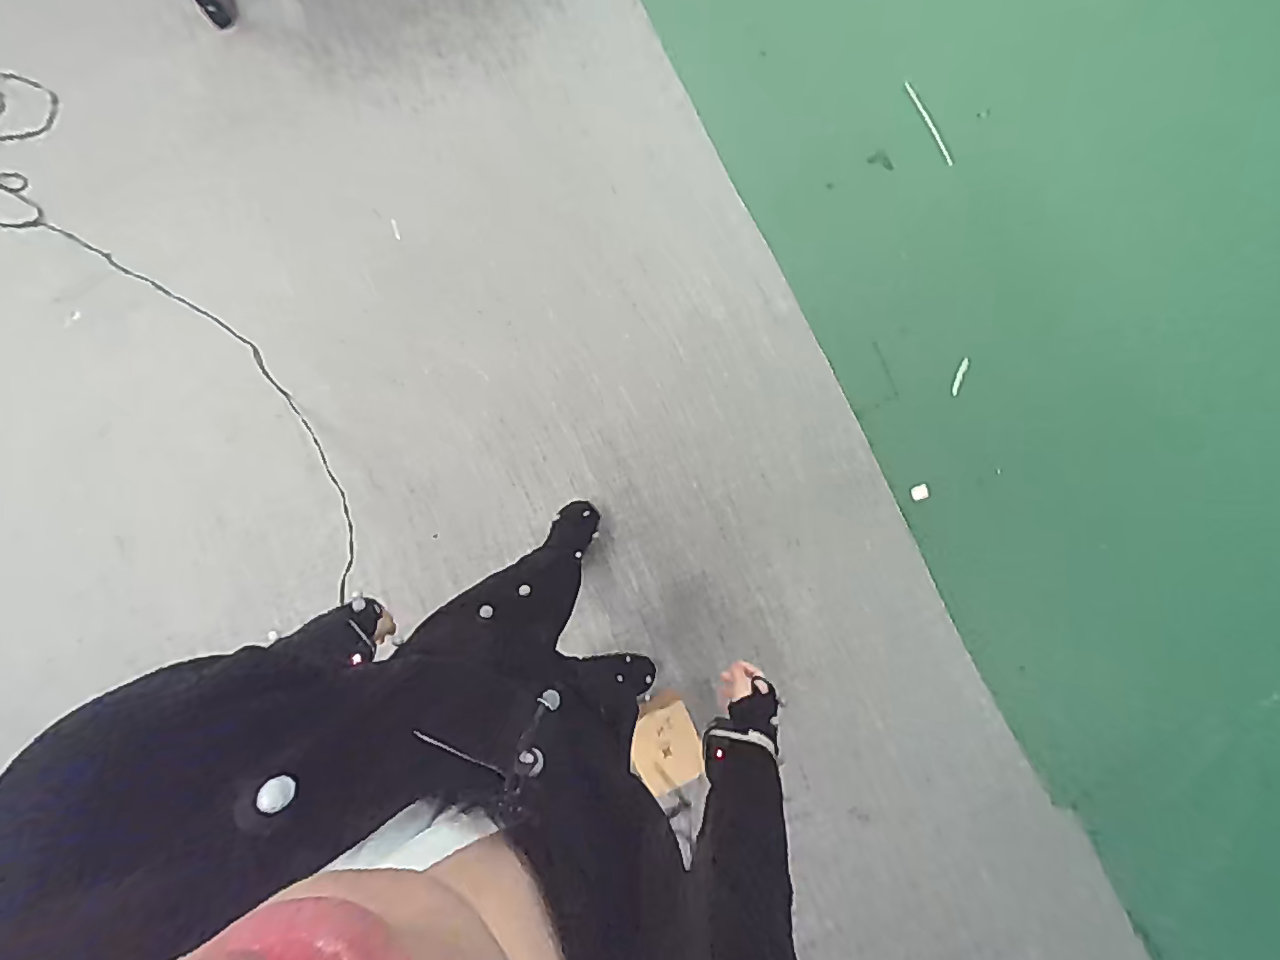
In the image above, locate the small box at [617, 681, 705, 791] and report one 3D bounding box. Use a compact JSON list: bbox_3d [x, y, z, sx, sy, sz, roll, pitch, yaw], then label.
[{"bbox_3d":[0.049,0.646,1.386,0.168,0.176,0.179,-23,84,-5],"label":"small box"}]
